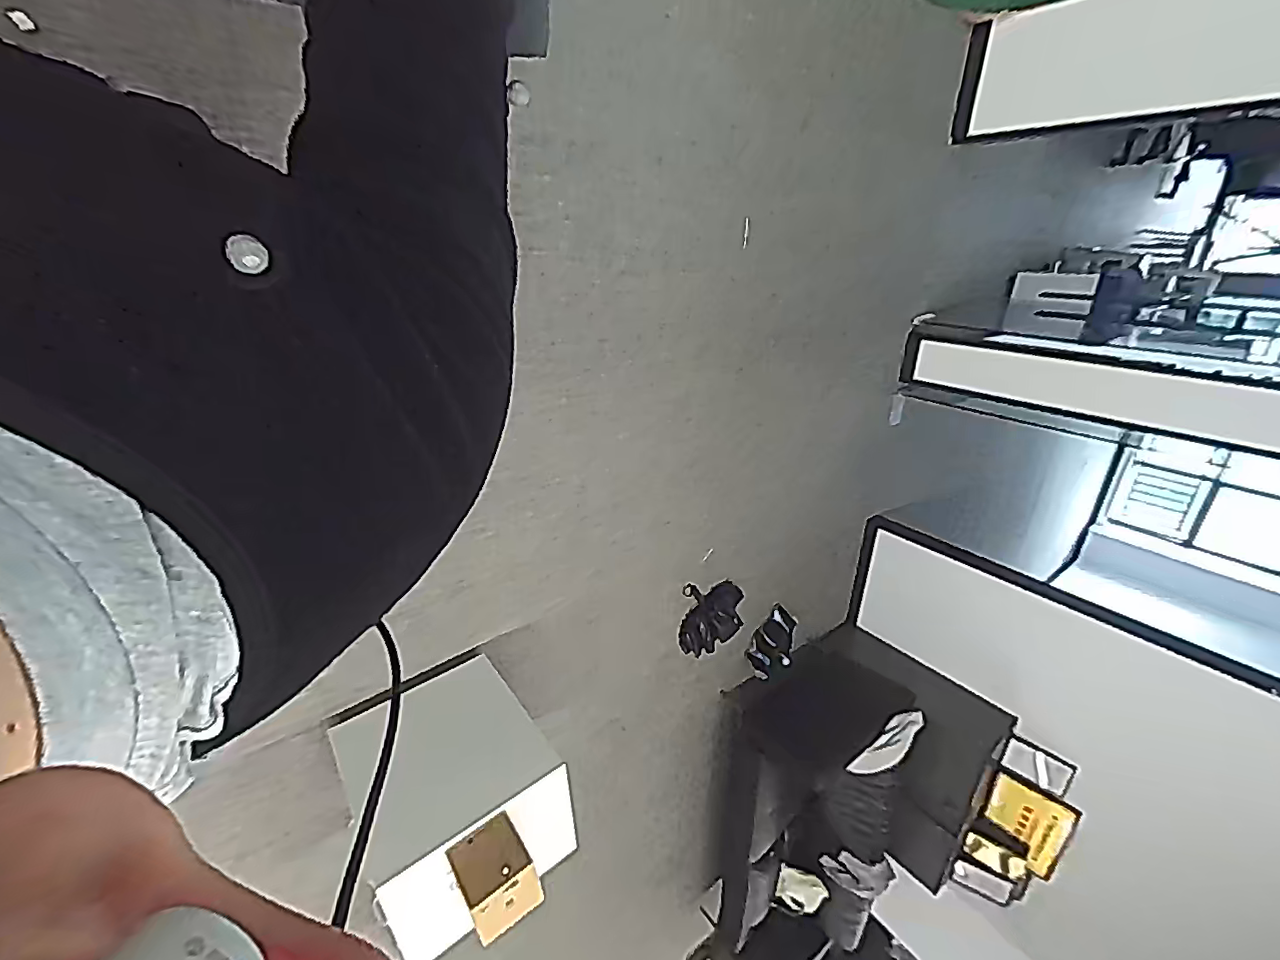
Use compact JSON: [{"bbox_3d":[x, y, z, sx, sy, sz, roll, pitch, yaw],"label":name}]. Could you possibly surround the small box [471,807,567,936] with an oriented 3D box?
[{"bbox_3d":[-0.305,0.980,1.369,0.168,0.176,0.179,-25,125,-31],"label":"small box"}]
